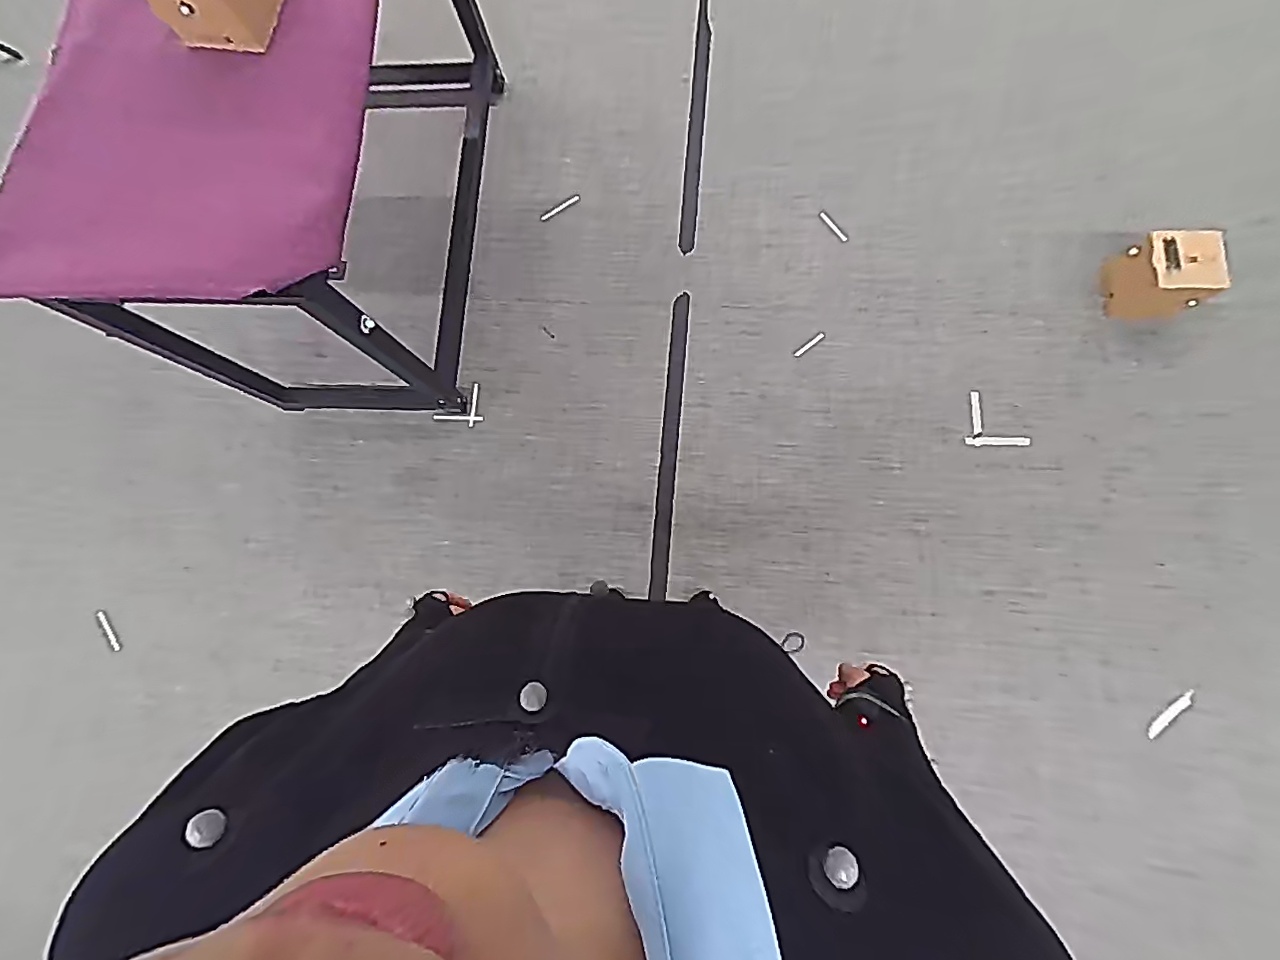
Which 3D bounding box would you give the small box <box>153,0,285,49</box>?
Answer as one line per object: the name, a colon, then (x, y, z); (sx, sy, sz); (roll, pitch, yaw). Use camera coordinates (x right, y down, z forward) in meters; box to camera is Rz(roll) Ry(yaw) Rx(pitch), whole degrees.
small box: (-0.766, -0.910, 0.952); (0.168, 0.176, 0.179); (11, 80, 5)
